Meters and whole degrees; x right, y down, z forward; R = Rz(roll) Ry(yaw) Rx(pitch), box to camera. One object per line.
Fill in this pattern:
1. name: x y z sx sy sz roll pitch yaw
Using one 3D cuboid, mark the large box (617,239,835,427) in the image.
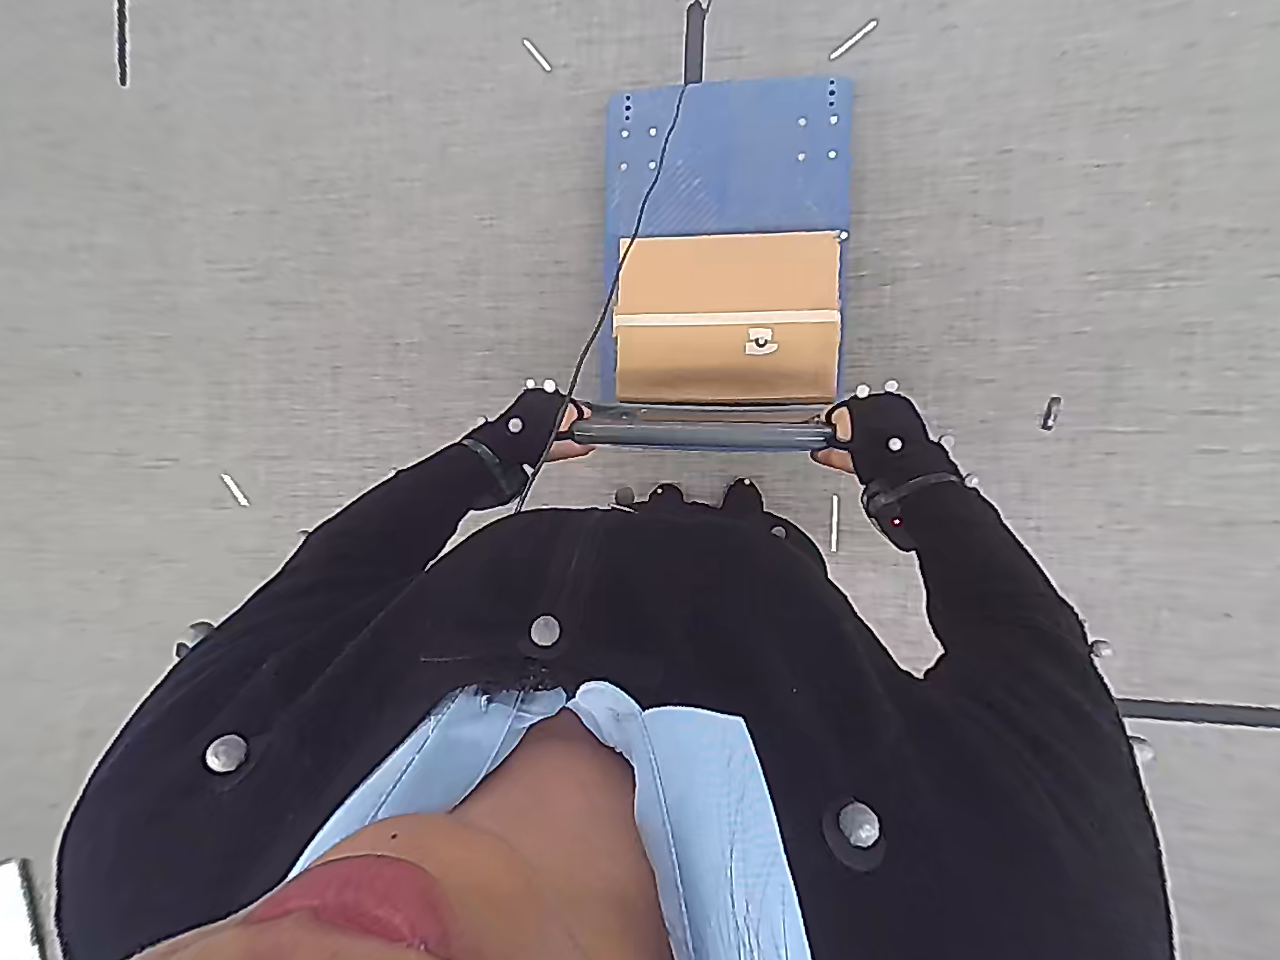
1. large box: 0.171 -0.282 1.145 0.408 0.320 0.320 1 91 7
